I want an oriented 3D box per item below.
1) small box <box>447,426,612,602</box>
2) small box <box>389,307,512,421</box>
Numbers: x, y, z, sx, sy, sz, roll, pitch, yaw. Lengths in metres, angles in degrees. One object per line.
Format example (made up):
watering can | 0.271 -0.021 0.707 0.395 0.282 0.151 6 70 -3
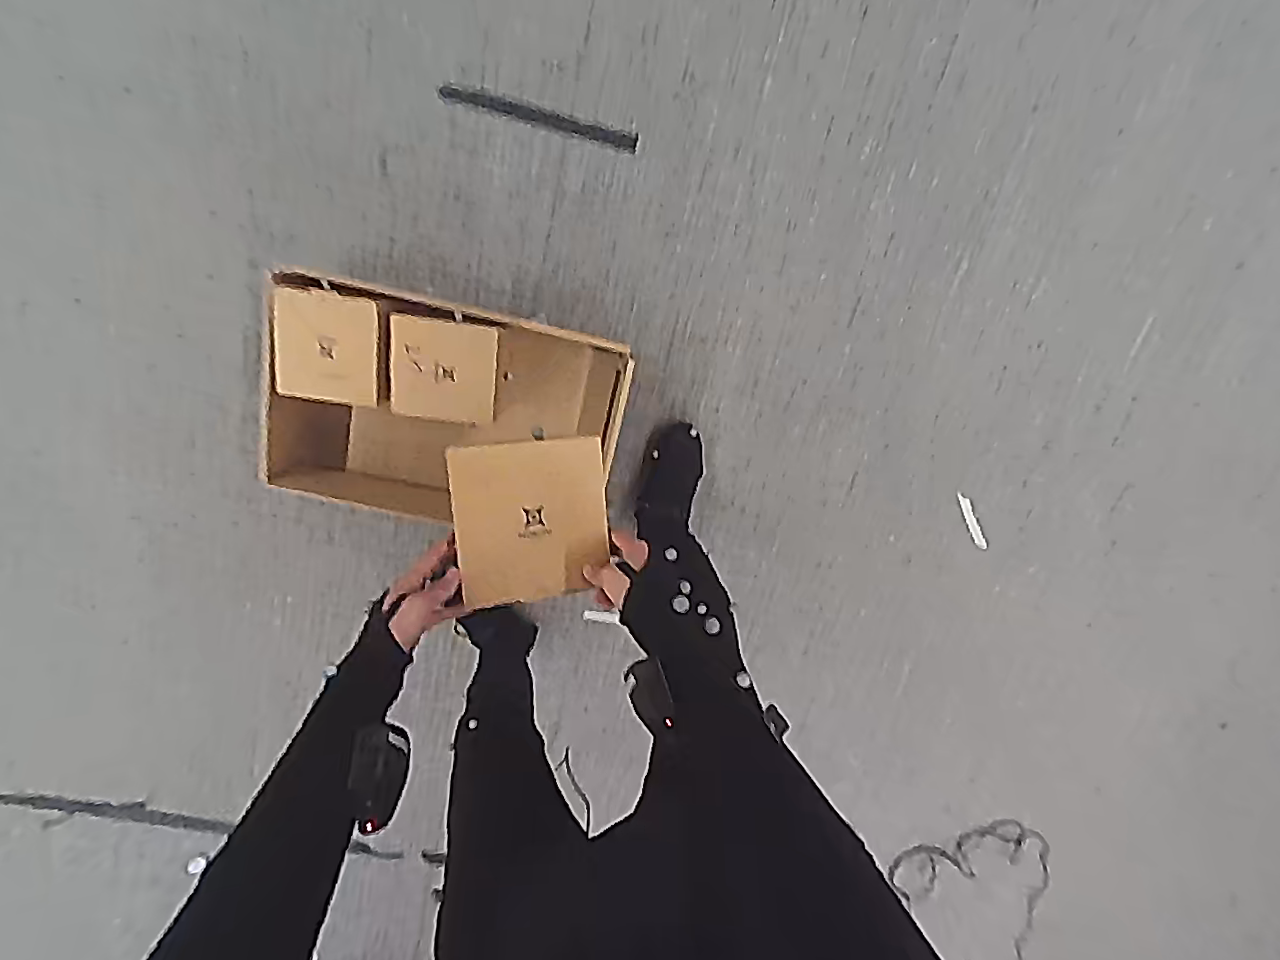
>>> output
small box | -0.140 0.028 0.661 0.168 0.176 0.179 -7 98 -17
small box | -0.332 -0.213 0.970 0.179 0.176 0.168 7 108 -6
